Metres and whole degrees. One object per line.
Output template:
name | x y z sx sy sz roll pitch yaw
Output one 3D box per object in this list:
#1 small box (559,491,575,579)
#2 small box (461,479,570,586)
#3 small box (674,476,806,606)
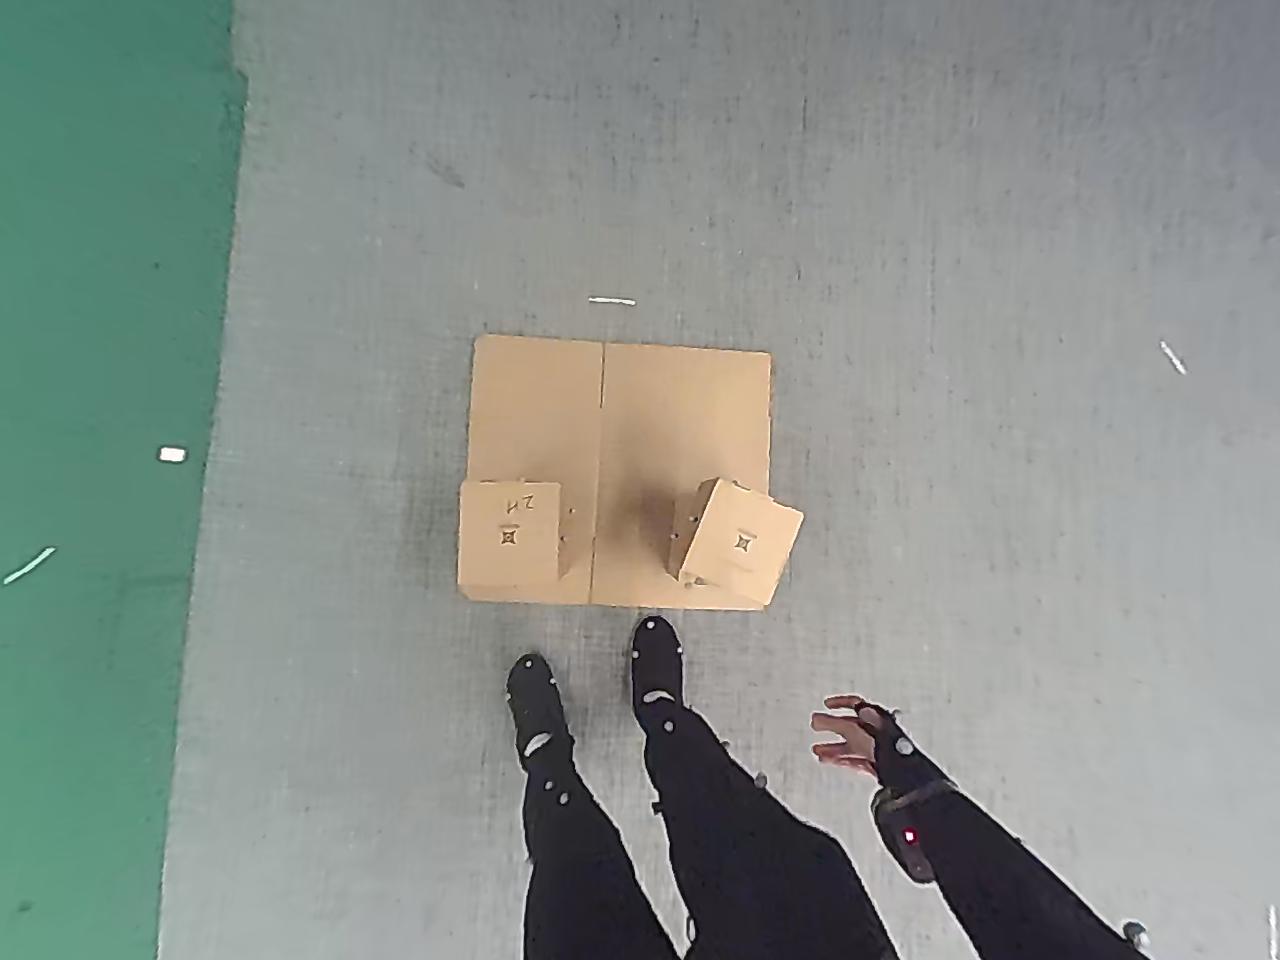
small box | -0.225 0.111 1.142 0.168 0.176 0.179 1 85 -3
small box | -0.216 0.093 0.978 0.168 0.176 0.179 2 85 -4
small box | 0.174 0.109 0.999 0.168 0.176 0.179 24 85 -2
